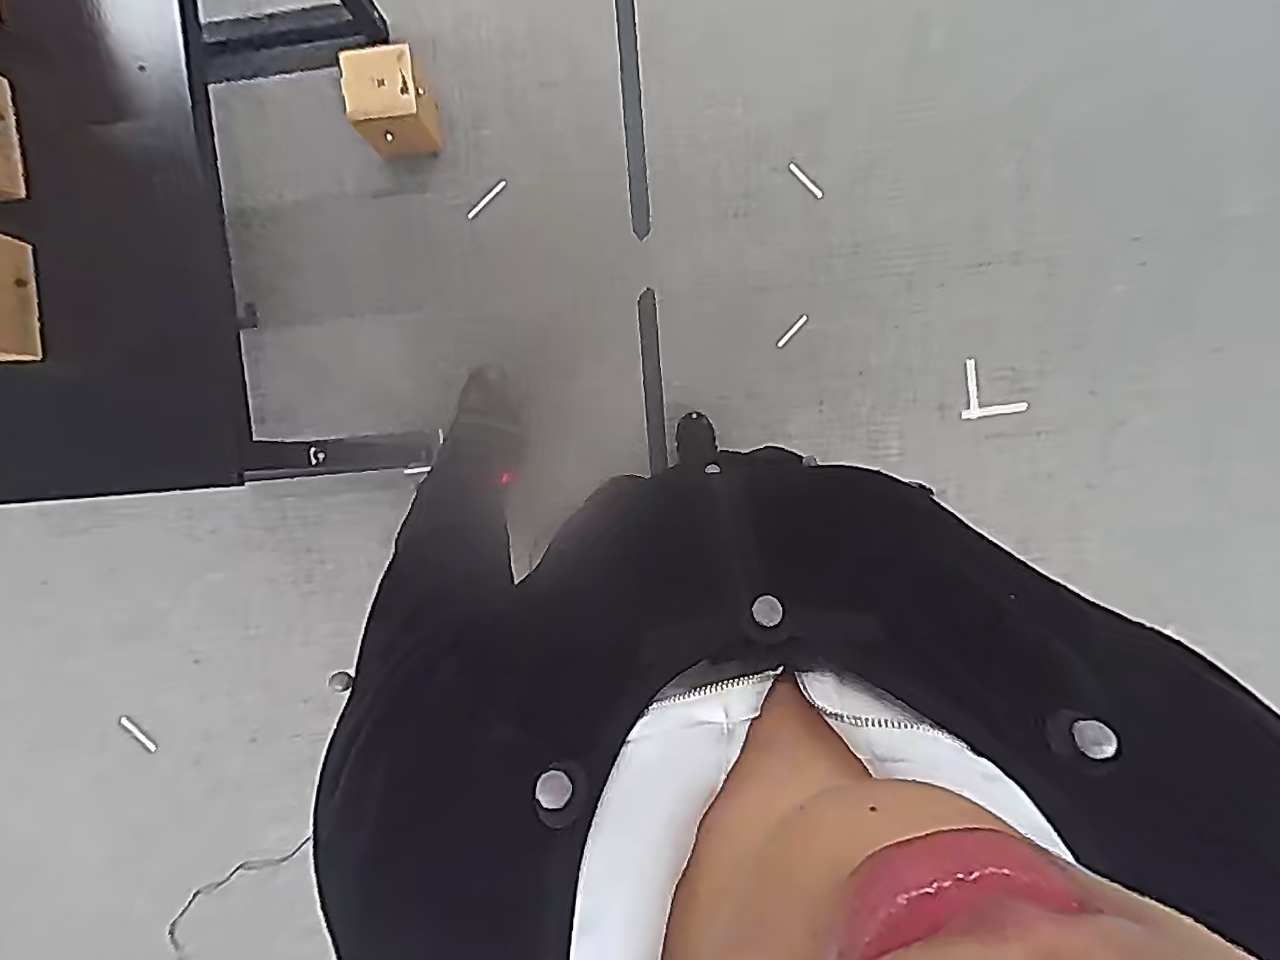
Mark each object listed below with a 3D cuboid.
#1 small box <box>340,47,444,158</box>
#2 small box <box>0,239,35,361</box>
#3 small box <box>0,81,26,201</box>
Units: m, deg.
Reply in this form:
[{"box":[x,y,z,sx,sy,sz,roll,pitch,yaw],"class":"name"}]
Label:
[{"box":[-0.630,-0.958,1.389,0.179,0.176,0.168,-6,94,3],"class":"small box"},{"box":[-0.965,-0.252,0.713,0.179,0.176,0.168,-2,93,3],"class":"small box"},{"box":[-0.980,-0.475,0.701,0.179,0.176,0.168,-5,93,2],"class":"small box"}]
